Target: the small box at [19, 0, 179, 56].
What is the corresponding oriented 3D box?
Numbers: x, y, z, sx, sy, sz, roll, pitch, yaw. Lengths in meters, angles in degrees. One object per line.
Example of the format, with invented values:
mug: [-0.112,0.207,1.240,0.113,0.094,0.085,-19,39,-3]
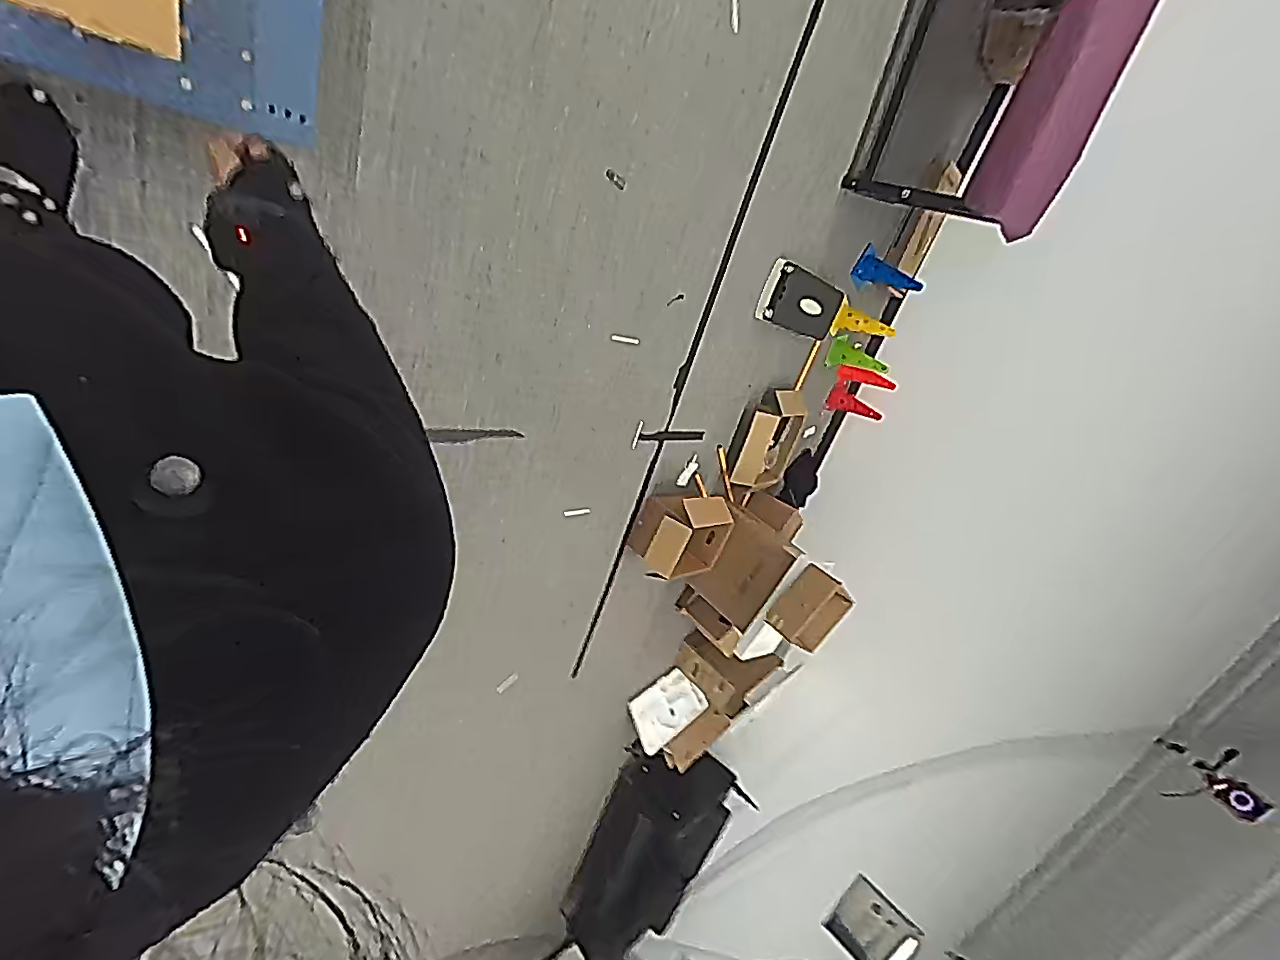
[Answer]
small box: [-0.712,-0.684,0.688,0.168,0.176,0.179,-8,126,-47]
